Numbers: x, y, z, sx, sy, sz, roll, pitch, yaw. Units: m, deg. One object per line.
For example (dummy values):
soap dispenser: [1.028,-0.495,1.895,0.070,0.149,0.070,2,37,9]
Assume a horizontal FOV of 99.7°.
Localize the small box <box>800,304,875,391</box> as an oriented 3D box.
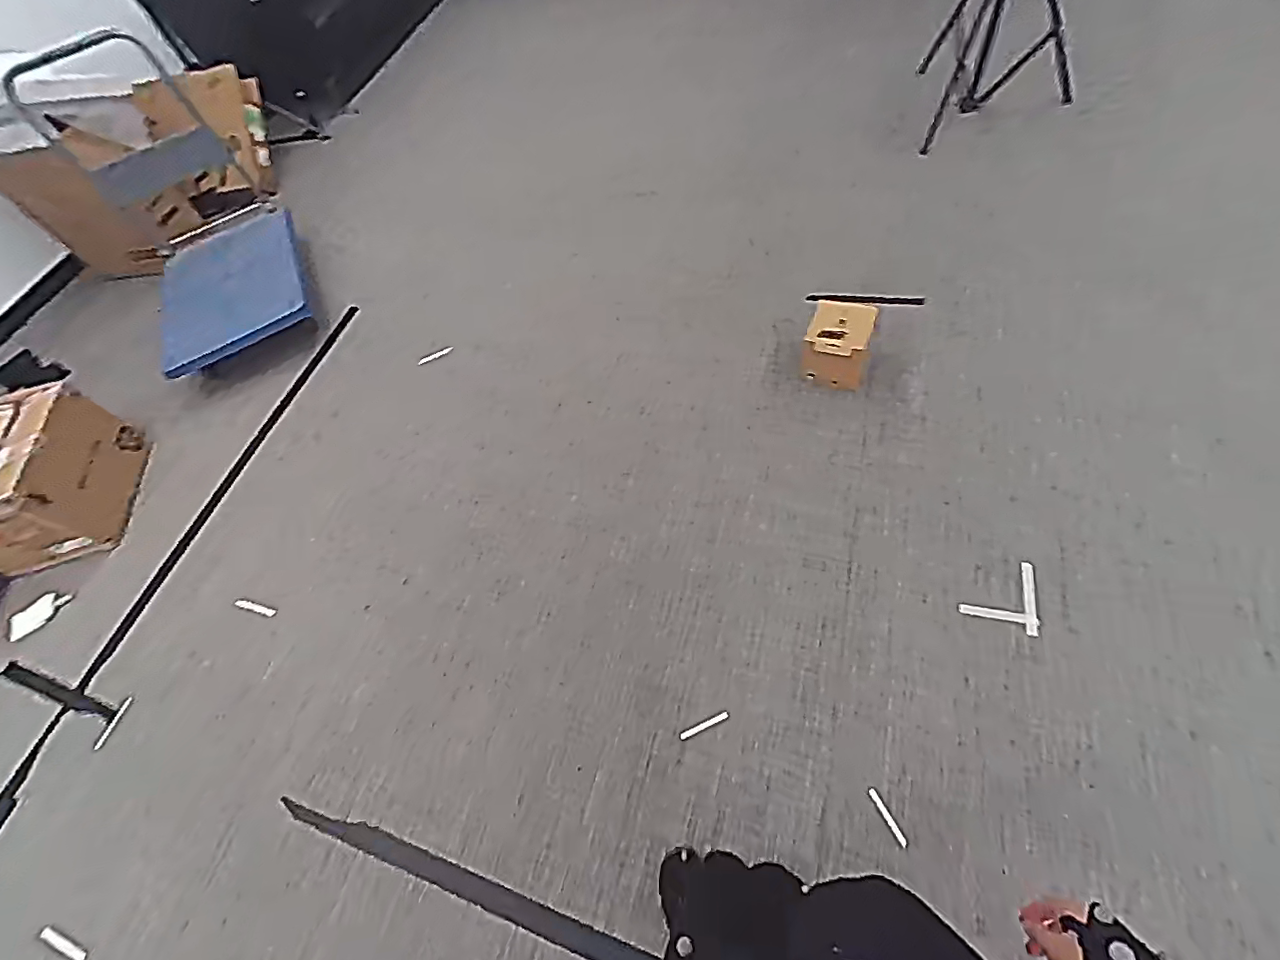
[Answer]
small box: [0.578,-0.389,1.599,0.168,0.176,0.179,16,64,21]
